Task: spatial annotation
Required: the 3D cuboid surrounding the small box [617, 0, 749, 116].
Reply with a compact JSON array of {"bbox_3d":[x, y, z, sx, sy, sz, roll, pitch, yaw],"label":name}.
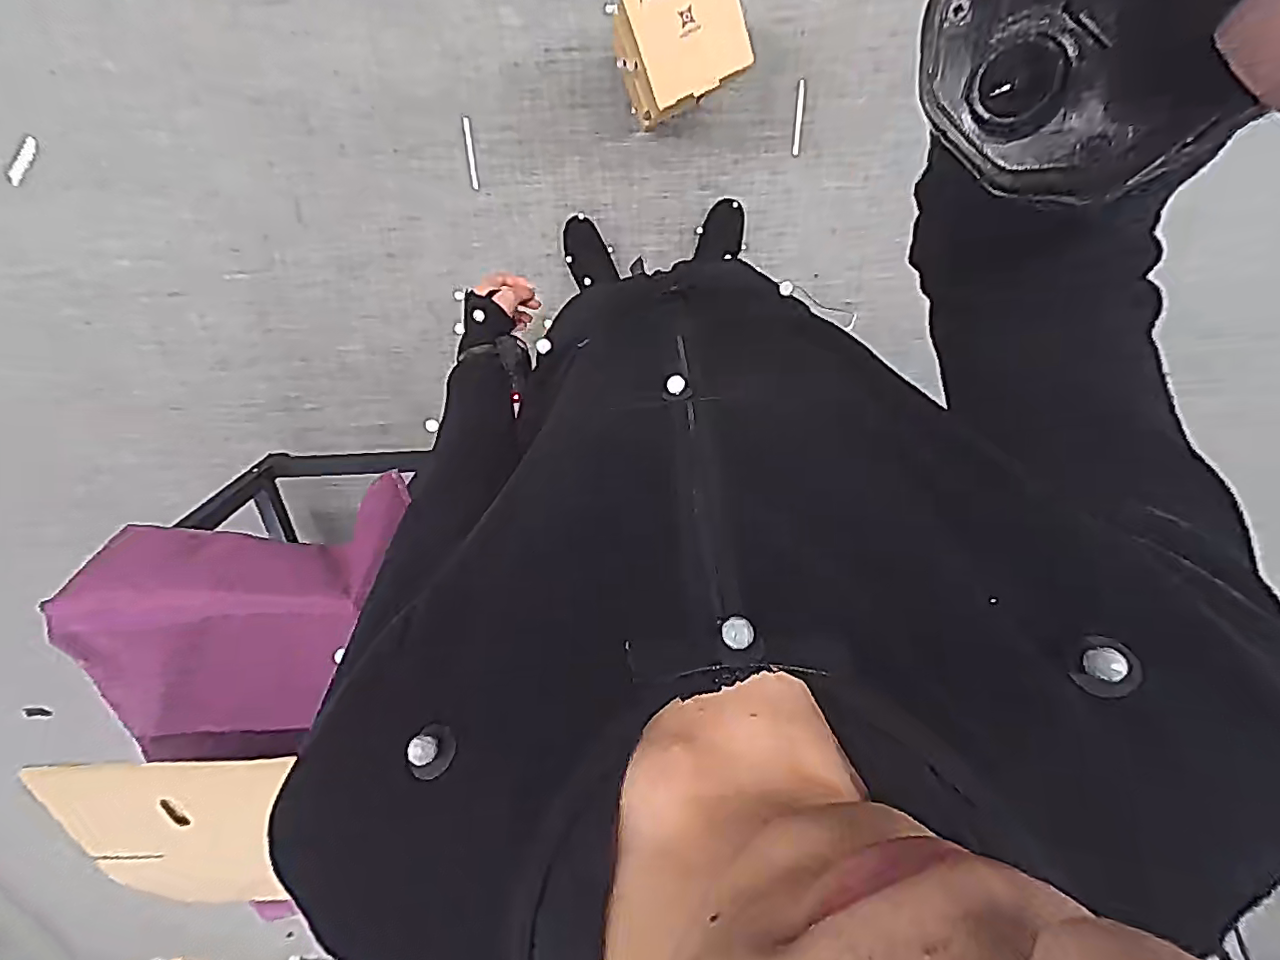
[{"bbox_3d":[0.068,-0.739,0.907,0.168,0.176,0.179,-21,118,9],"label":"small box"}]
